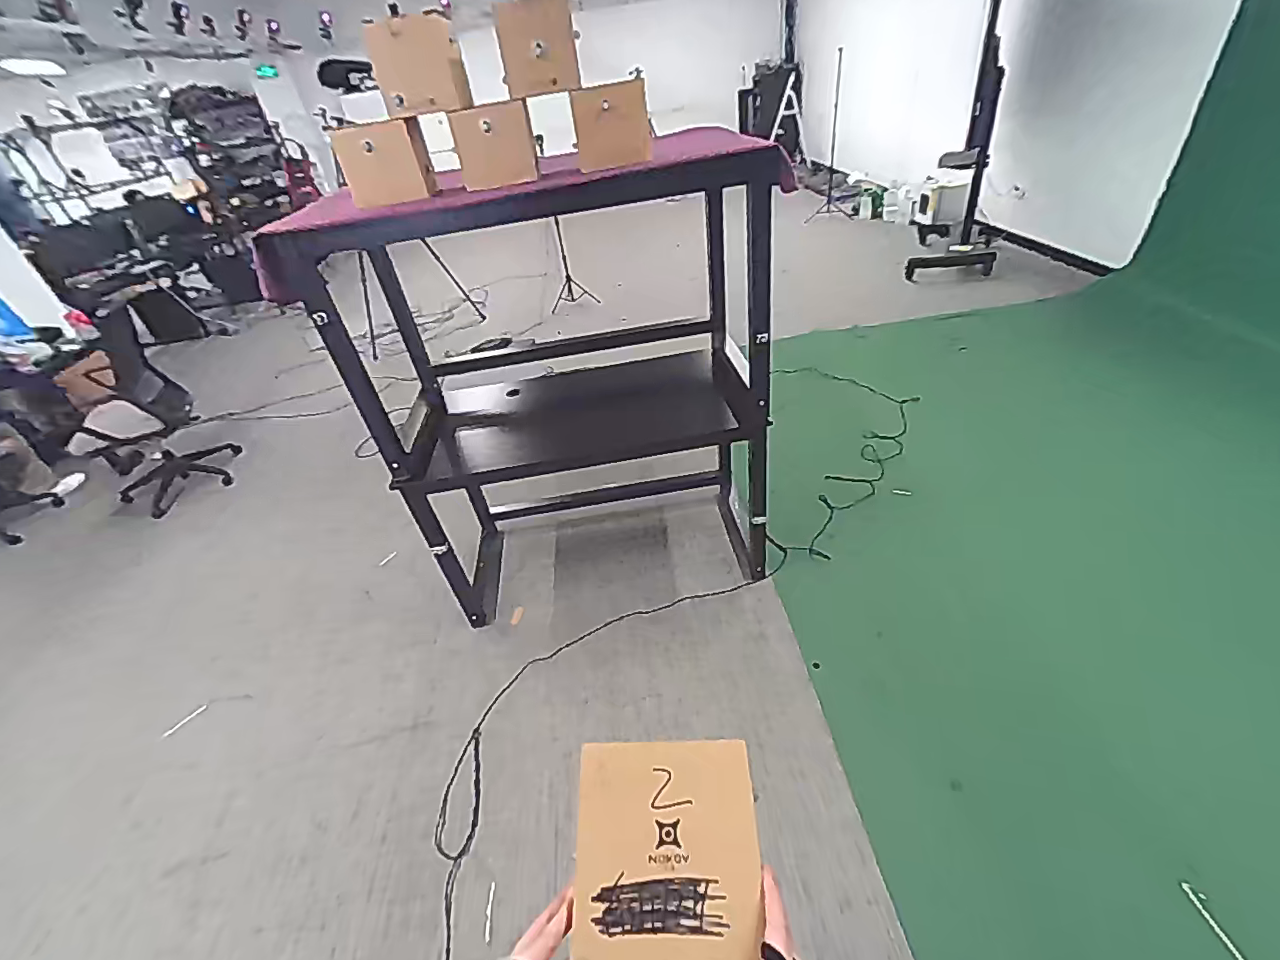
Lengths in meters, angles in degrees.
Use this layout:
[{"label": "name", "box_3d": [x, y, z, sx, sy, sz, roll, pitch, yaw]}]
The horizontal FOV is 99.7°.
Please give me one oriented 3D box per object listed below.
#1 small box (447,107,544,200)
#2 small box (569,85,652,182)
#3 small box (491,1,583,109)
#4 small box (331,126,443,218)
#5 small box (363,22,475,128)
[{"label": "small box", "box_3d": [-0.343, -0.796, 1.318, 0.179, 0.176, 0.168, -9, 37, 0]}, {"label": "small box", "box_3d": [-0.069, -0.846, 1.320, 0.179, 0.176, 0.168, -11, 36, 1]}, {"label": "small box", "box_3d": [-0.225, -0.957, 1.230, 0.168, 0.176, 0.179, -10, 37, 0]}, {"label": "small box", "box_3d": [-0.609, -0.757, 1.324, 0.179, 0.176, 0.168, -11, 38, -2]}, {"label": "small box", "box_3d": [-0.490, -0.913, 1.231, 0.168, 0.176, 0.179, -8, 36, 1]}]
